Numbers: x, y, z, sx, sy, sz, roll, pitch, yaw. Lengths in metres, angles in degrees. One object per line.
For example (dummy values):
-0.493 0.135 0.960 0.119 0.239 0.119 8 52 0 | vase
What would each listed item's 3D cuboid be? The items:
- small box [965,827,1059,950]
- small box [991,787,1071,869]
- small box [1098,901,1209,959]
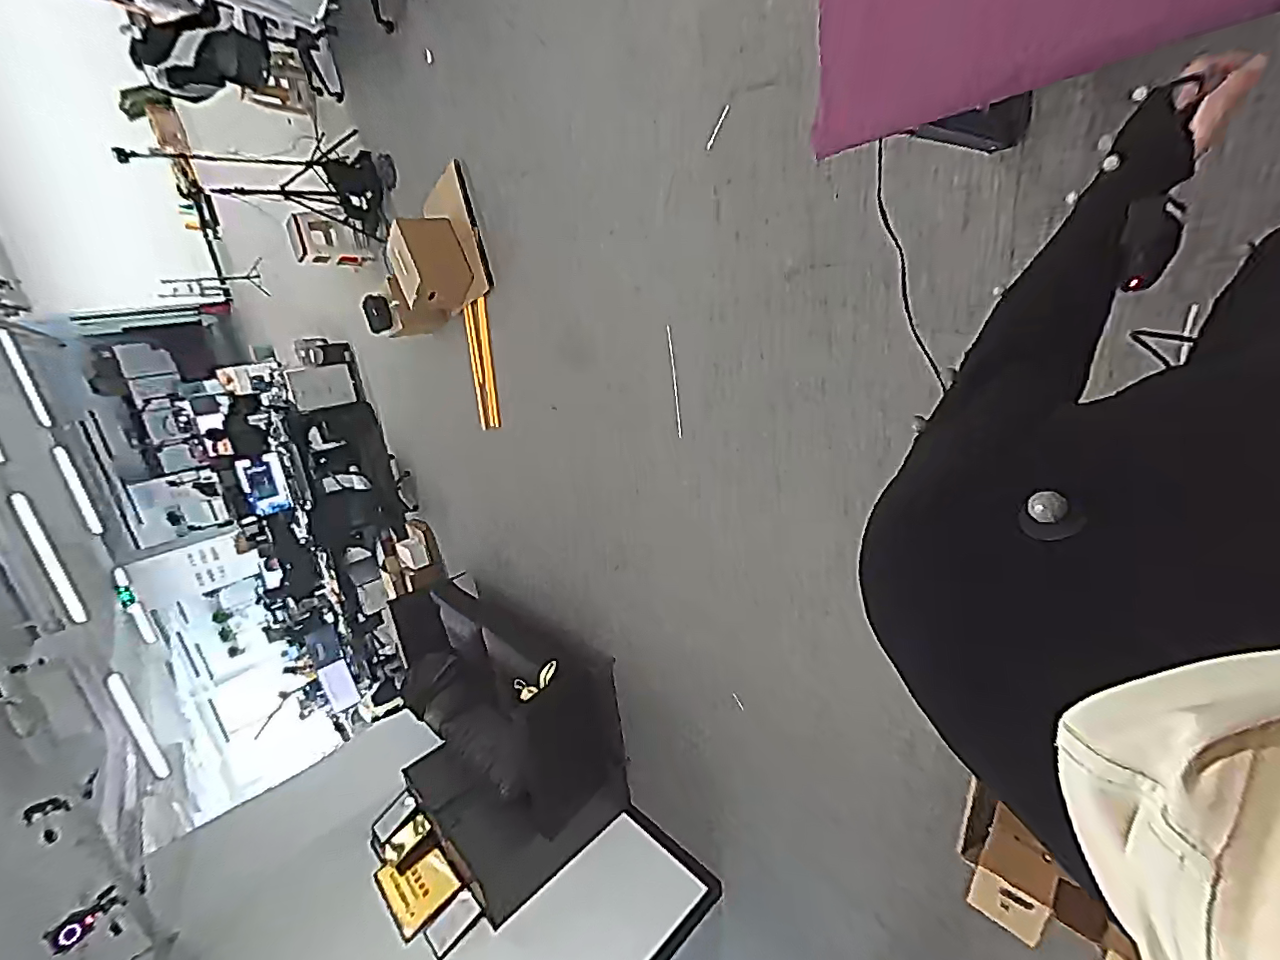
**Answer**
1.029 1.116 1.493 0.168 0.176 0.179 20 123 41 | small box
1.146 1.065 1.597 0.168 0.176 0.179 17 120 42 | small box
1.226 1.185 1.301 0.168 0.176 0.179 20 123 44 | small box
